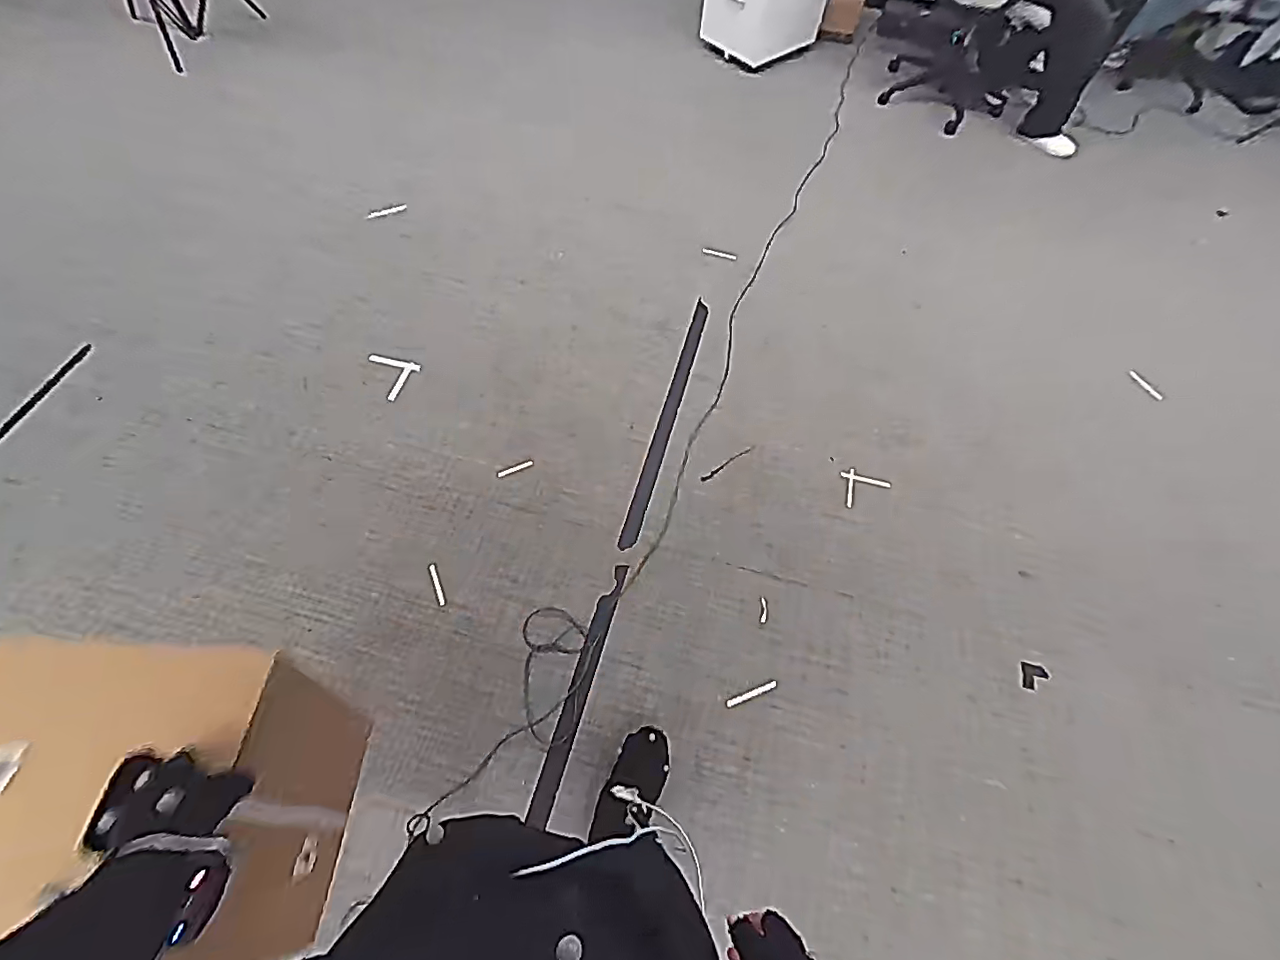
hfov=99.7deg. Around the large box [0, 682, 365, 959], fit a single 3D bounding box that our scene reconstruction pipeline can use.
[{"bbox_3d":[-0.605,0.463,0.691,0.320,0.408,0.320,4,55,-7],"label":"large box"}]
